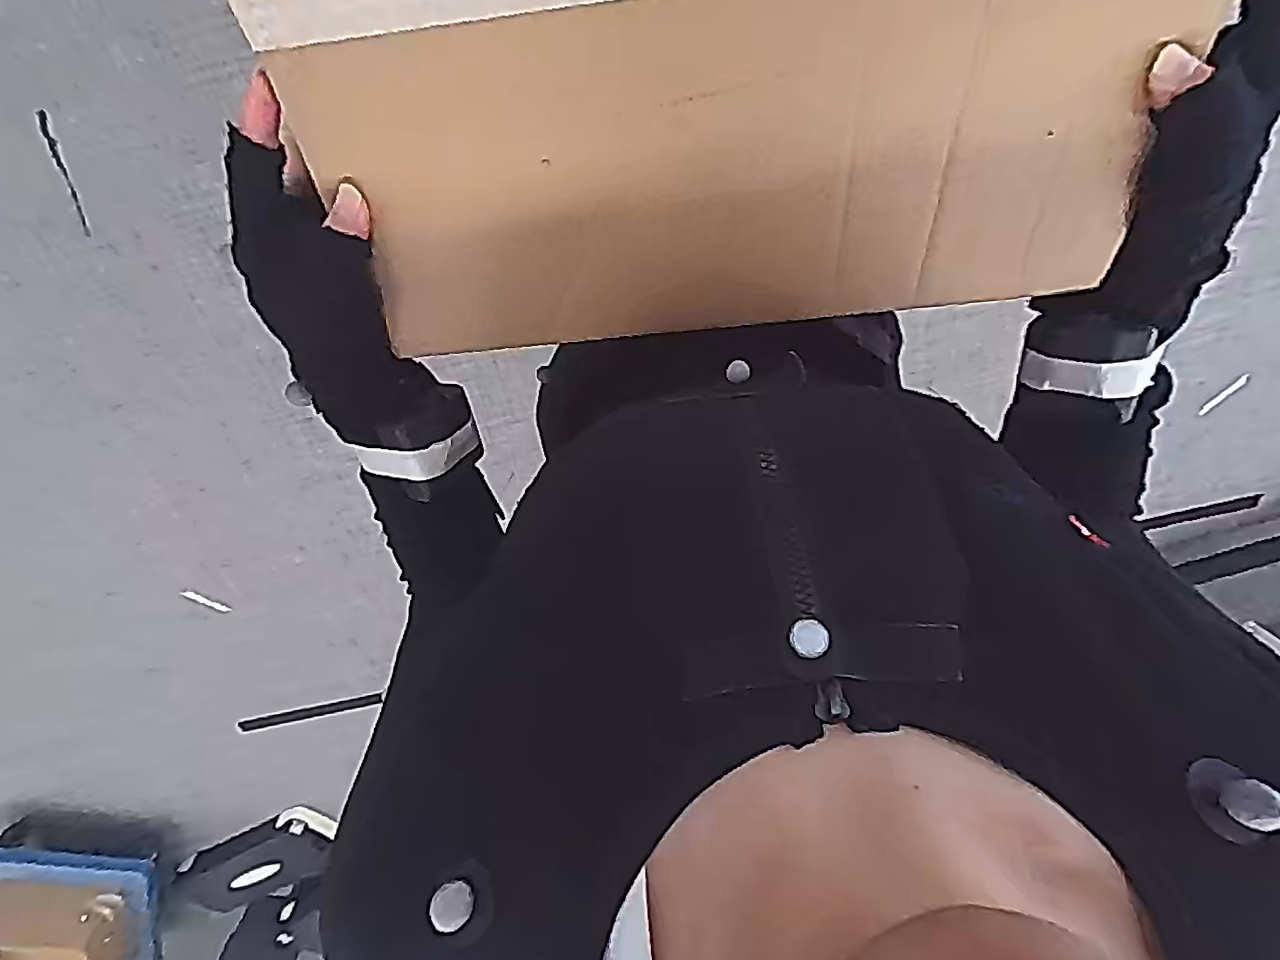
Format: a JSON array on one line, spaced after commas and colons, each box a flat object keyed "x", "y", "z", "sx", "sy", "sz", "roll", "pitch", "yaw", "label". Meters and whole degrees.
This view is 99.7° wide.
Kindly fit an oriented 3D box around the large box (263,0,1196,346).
[{"x": 0.033, "y": -0.312, "z": 0.335, "sx": 0.408, "sy": 0.320, "sz": 0.320, "roll": -5, "pitch": 132, "yaw": 3, "label": "large box"}]
